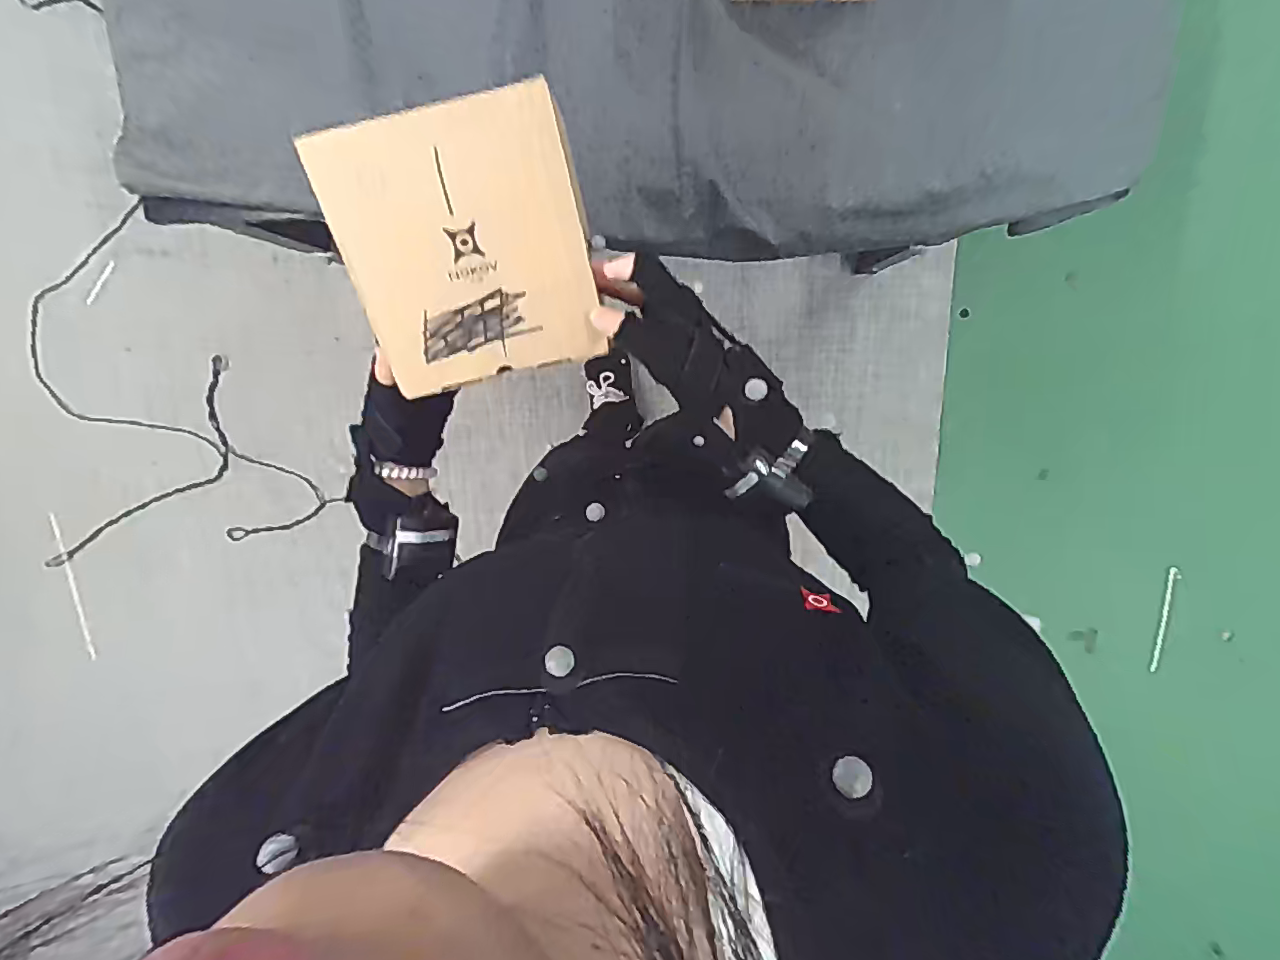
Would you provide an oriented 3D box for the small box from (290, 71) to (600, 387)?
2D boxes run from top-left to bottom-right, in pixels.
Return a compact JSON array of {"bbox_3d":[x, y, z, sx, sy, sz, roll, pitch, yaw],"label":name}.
[{"bbox_3d":[-0.128,-0.198,0.444,0.168,0.176,0.179,-12,117,1],"label":"small box"}]
